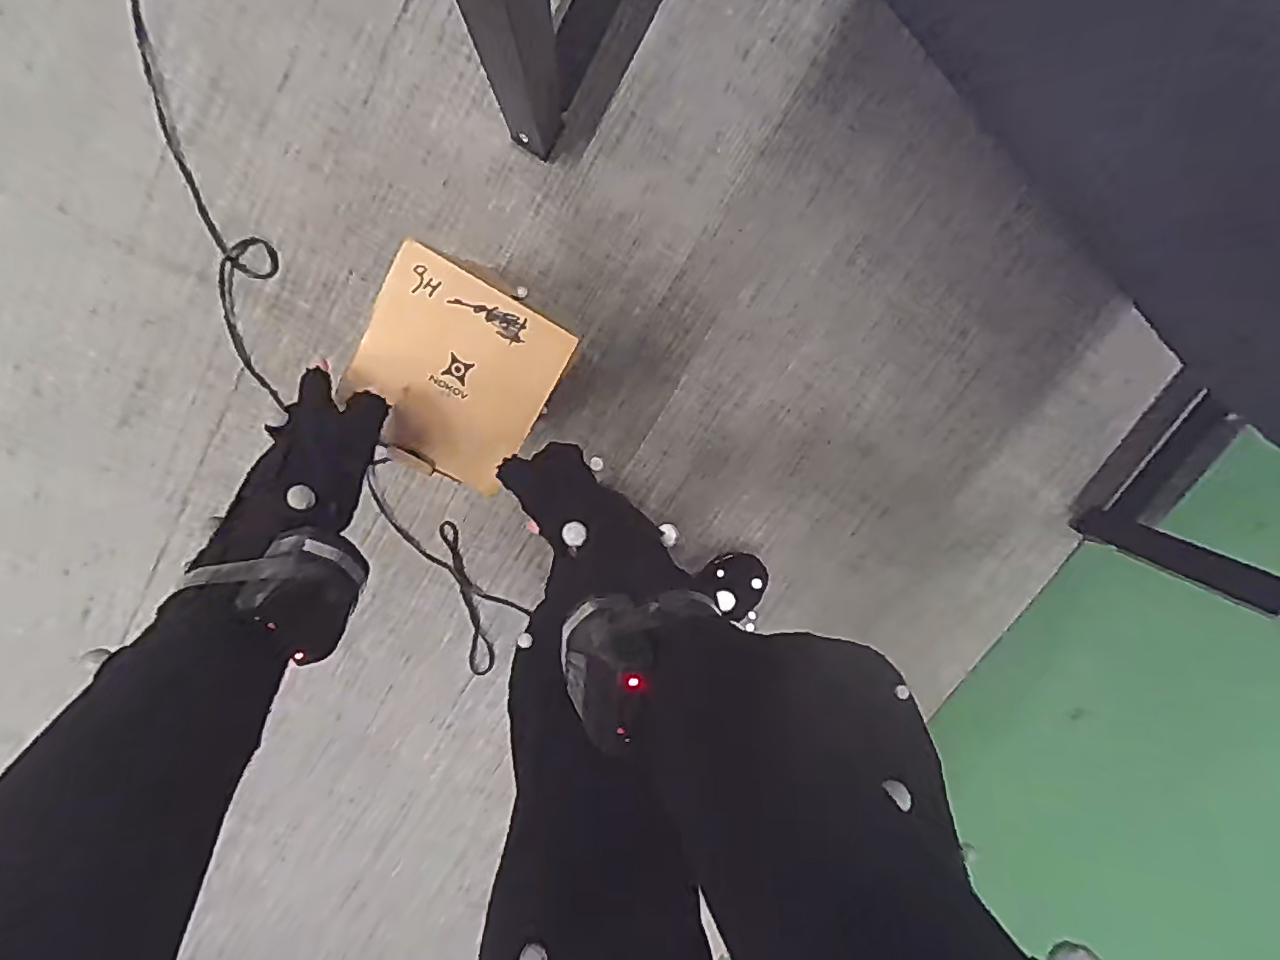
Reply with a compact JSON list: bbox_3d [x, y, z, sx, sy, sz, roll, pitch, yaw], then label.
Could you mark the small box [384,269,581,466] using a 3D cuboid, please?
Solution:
[{"bbox_3d":[-0.196,-0.152,0.718,0.168,0.176,0.179,38,100,-15],"label":"small box"}]
